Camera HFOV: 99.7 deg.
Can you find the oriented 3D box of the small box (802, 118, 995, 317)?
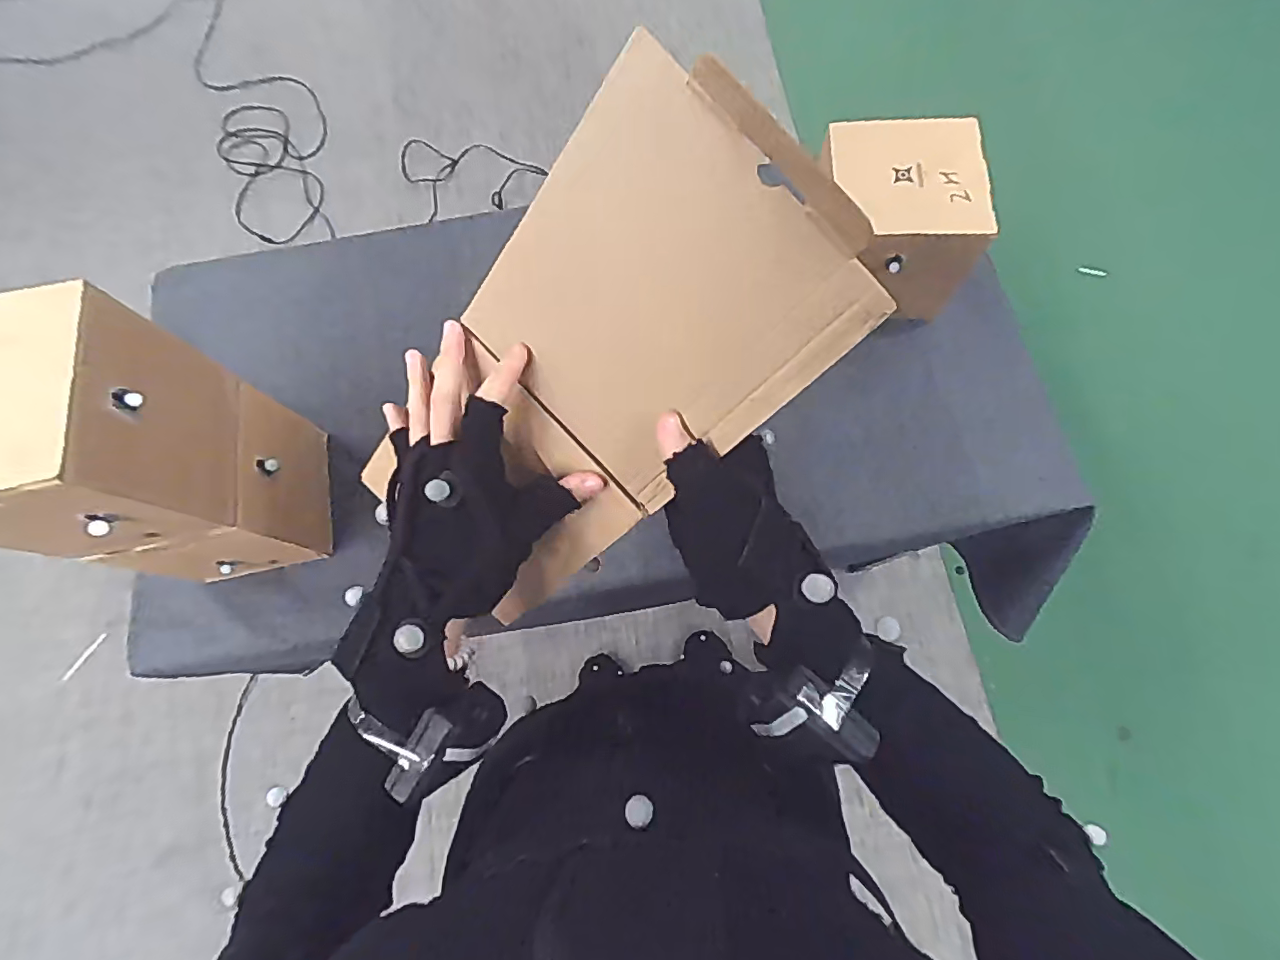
[{"bbox_3d":[0.311,-0.326,0.696,0.179,0.176,0.168,1,74,3],"label":"small box"}]

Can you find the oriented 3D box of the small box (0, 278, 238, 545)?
[{"bbox_3d":[-0.501,-0.044,0.484,0.168,0.176,0.179,-10,73,-2],"label":"small box"}]

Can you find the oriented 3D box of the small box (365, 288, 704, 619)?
[{"bbox_3d":[-0.073,-0.028,0.438,0.168,0.176,0.179,47,123,-5],"label":"small box"}]

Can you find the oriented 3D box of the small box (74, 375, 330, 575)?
[{"bbox_3d":[-0.494,0.004,0.639,0.168,0.176,0.179,-12,73,-1],"label":"small box"}]
